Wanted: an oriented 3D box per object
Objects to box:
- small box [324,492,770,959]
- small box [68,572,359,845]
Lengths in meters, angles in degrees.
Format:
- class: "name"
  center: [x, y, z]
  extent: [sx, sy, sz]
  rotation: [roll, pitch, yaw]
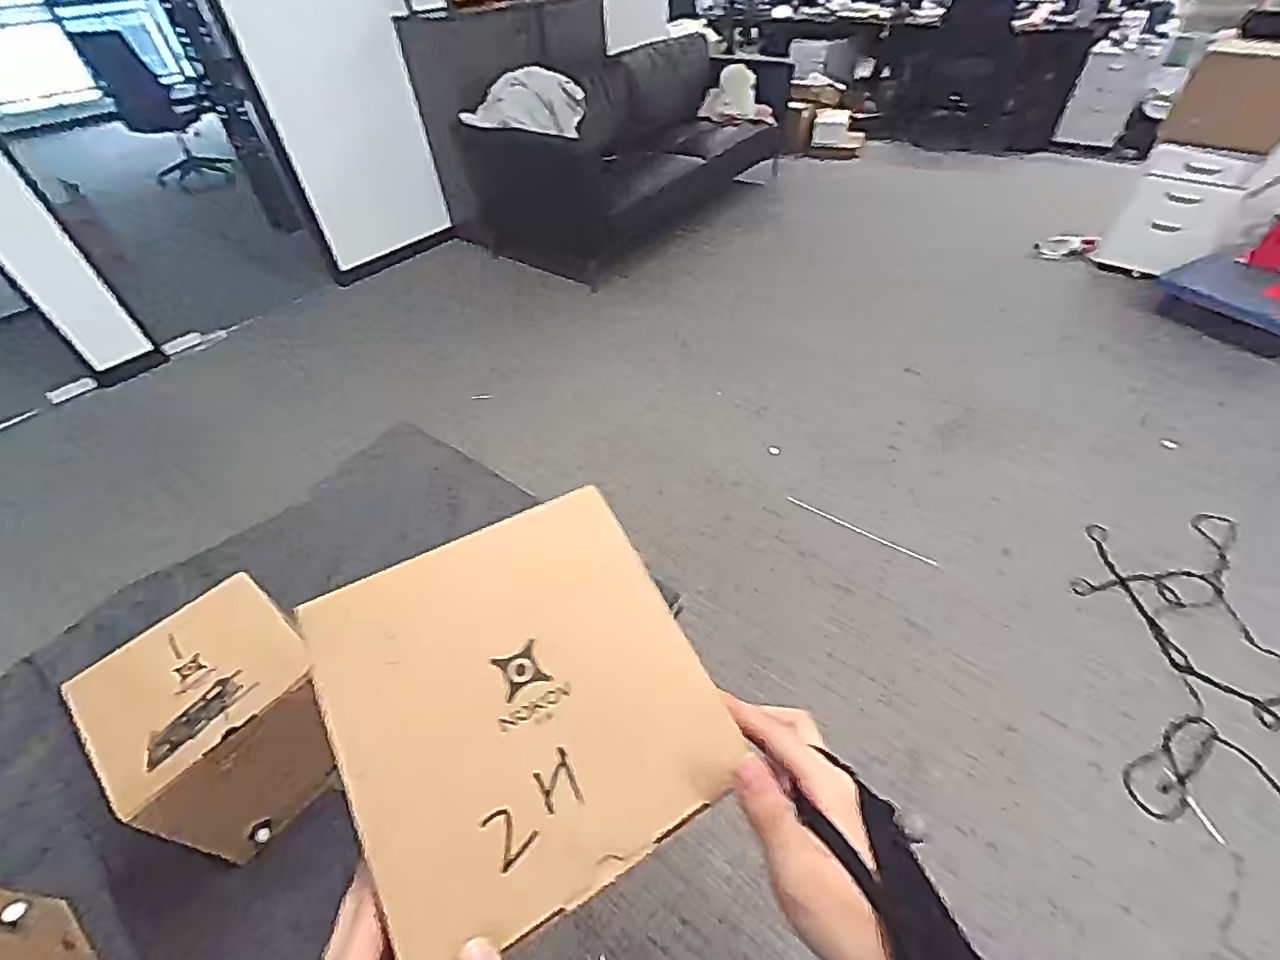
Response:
- class: "small box"
  center: [-0.059, 0.141, 0.328]
  extent: [0.168, 0.176, 0.179]
  rotation: [-21, 65, -20]
- class: "small box"
  center: [-0.407, 0.235, 0.556]
  extent: [0.179, 0.176, 0.168]
  rotation: [29, 53, 30]
